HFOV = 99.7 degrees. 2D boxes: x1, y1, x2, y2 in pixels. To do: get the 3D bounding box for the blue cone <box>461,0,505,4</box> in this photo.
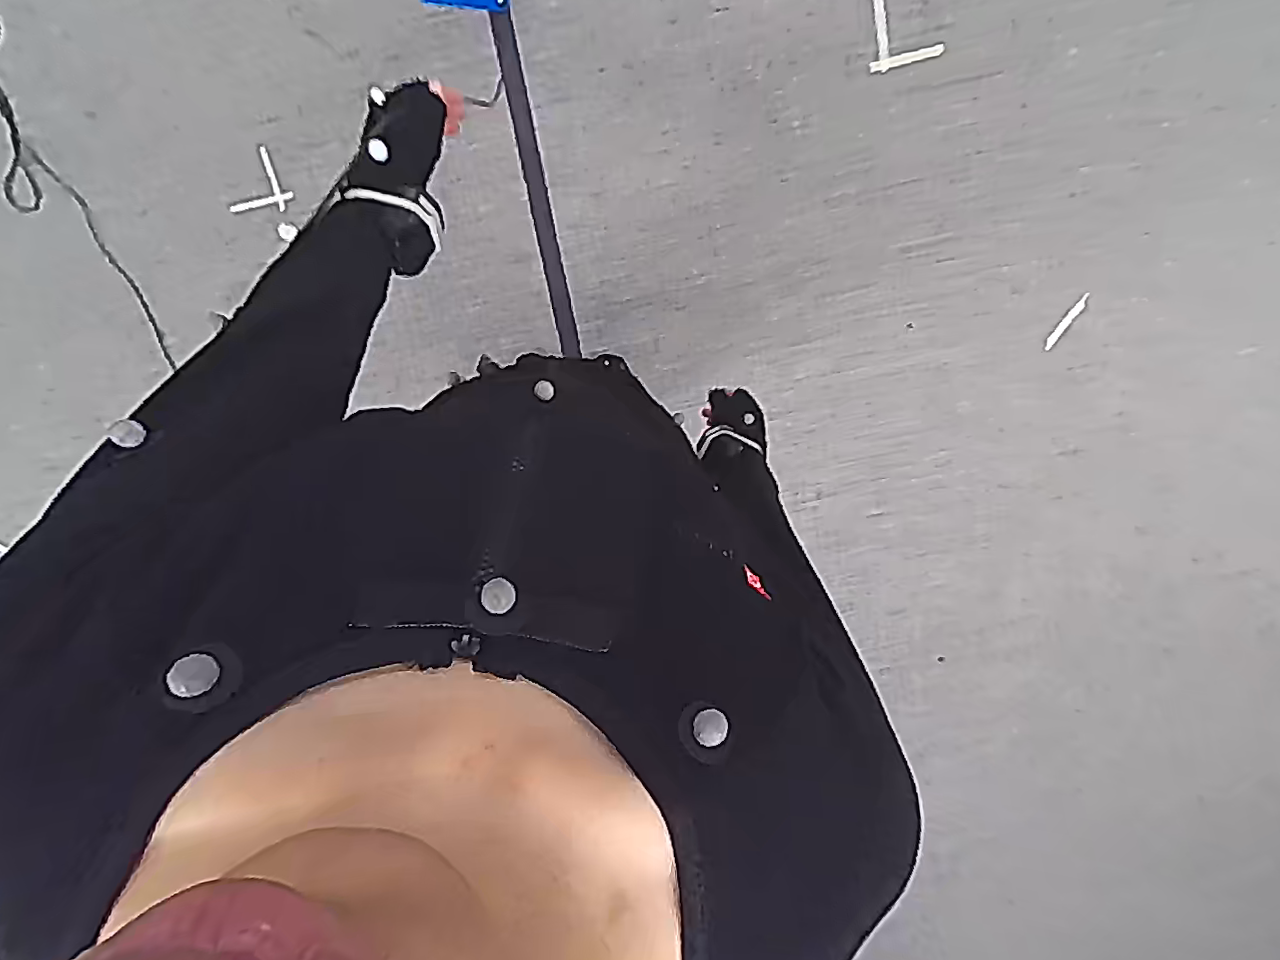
[{"bbox_3d":[-0.371,-1.105,1.010,0.192,0.380,0.193,4,105,-5],"label":"blue cone"}]
